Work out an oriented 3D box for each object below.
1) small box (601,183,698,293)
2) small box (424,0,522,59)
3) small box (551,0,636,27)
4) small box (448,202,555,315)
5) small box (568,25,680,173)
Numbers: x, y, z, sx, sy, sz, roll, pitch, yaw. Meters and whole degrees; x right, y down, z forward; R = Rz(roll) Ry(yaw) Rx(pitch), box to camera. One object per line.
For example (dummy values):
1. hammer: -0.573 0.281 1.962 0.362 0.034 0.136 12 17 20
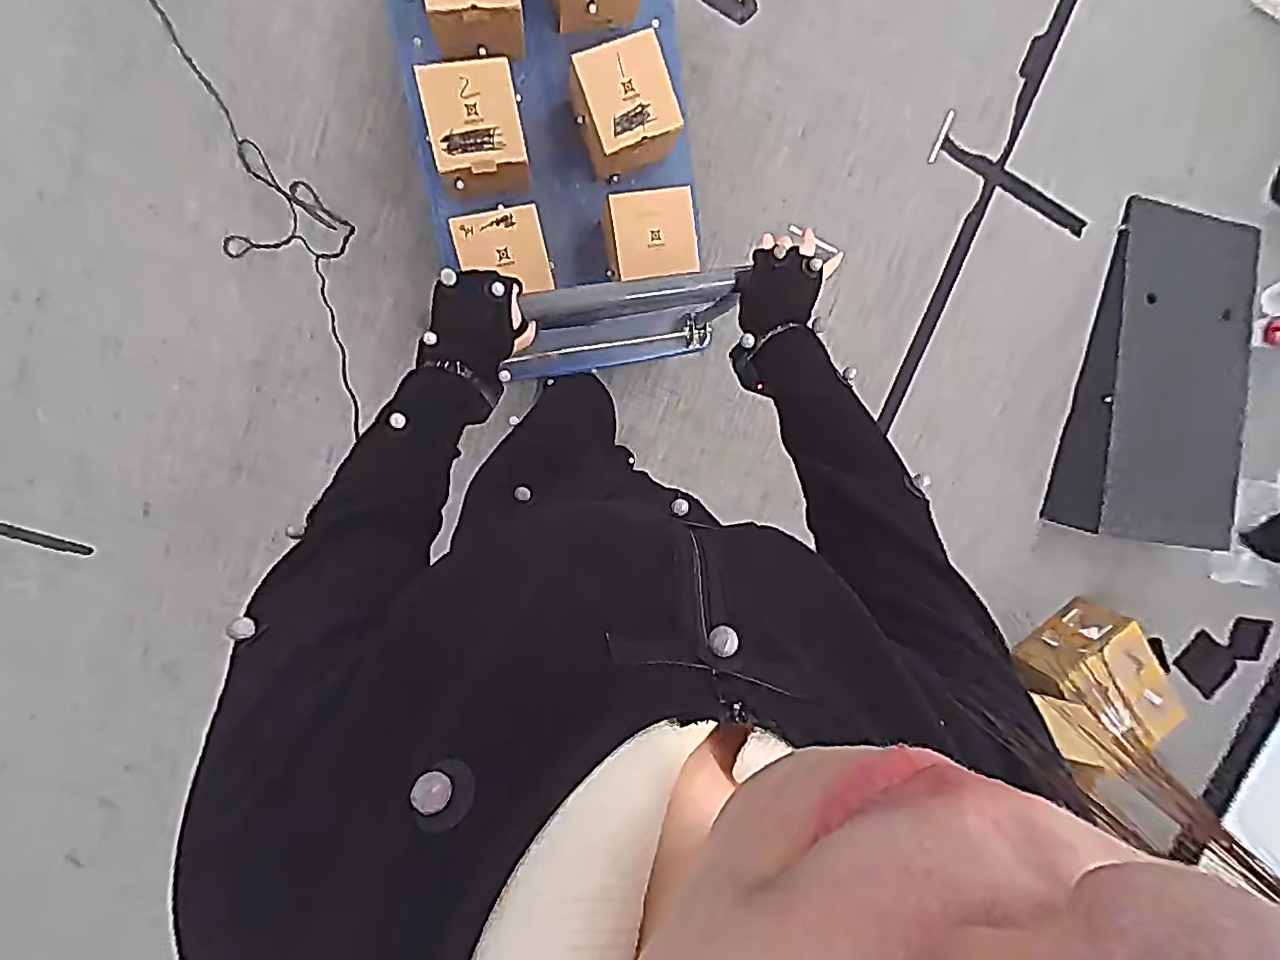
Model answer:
1. small box: 0.016 -0.500 1.144 0.168 0.176 0.179 -10 101 -8
2. small box: -0.316 -0.927 1.002 0.168 0.176 0.179 -9 103 -8
3. small box: -0.096 -1.006 1.027 0.168 0.176 0.179 -14 103 -7
4. small box: -0.273 -0.440 1.103 0.168 0.176 0.179 -14 103 -8
5. small box: -0.037 -0.746 1.086 0.168 0.176 0.179 -23 103 -5
